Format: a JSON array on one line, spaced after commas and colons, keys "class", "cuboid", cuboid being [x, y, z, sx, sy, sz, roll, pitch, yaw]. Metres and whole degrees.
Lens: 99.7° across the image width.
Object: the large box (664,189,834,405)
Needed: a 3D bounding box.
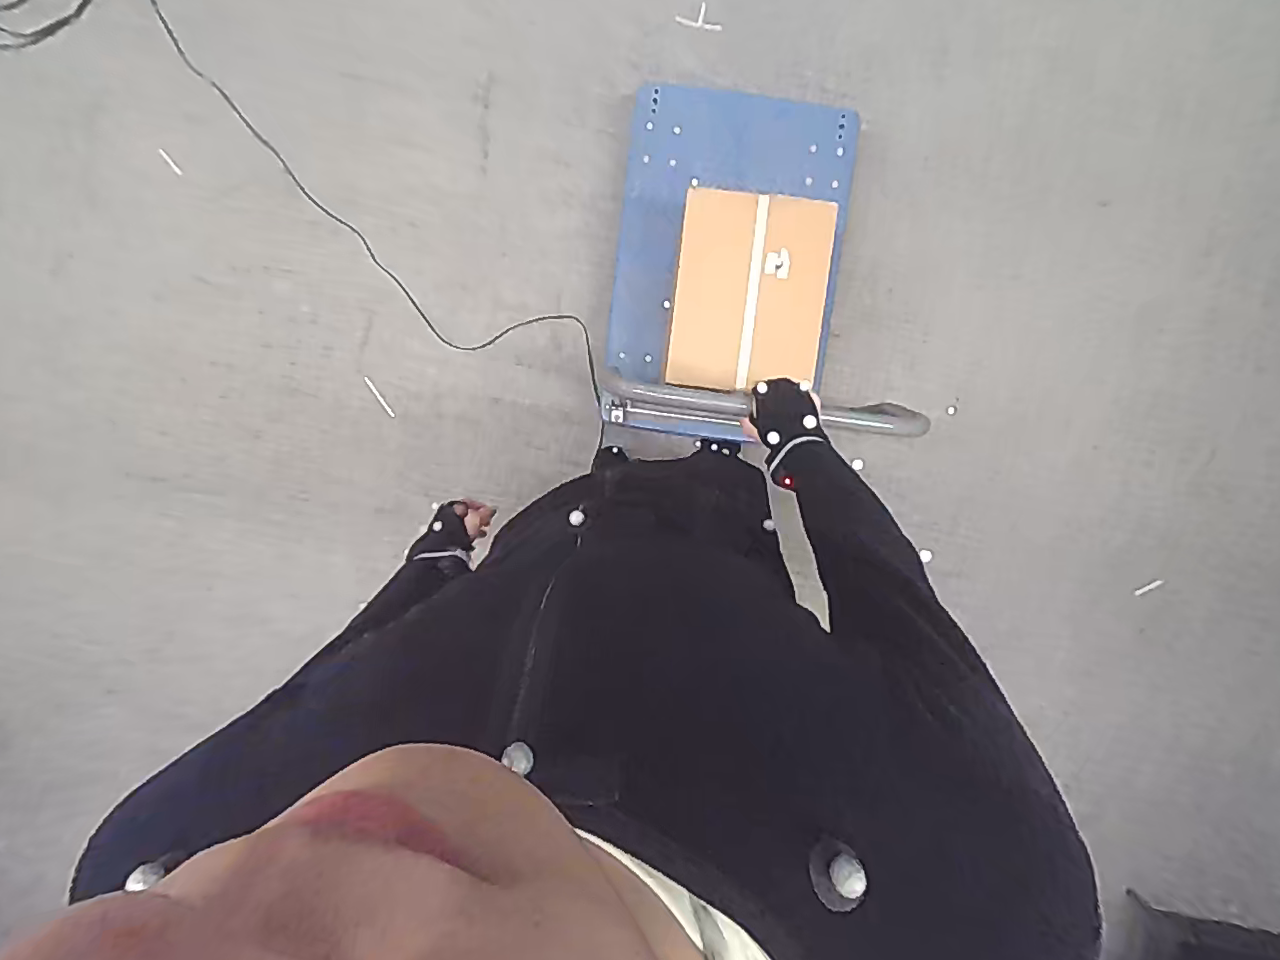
[{"class": "large box", "cuboid": [0.230, -0.397, 1.273, 0.320, 0.320, 0.408, 7, 94, -1]}]
